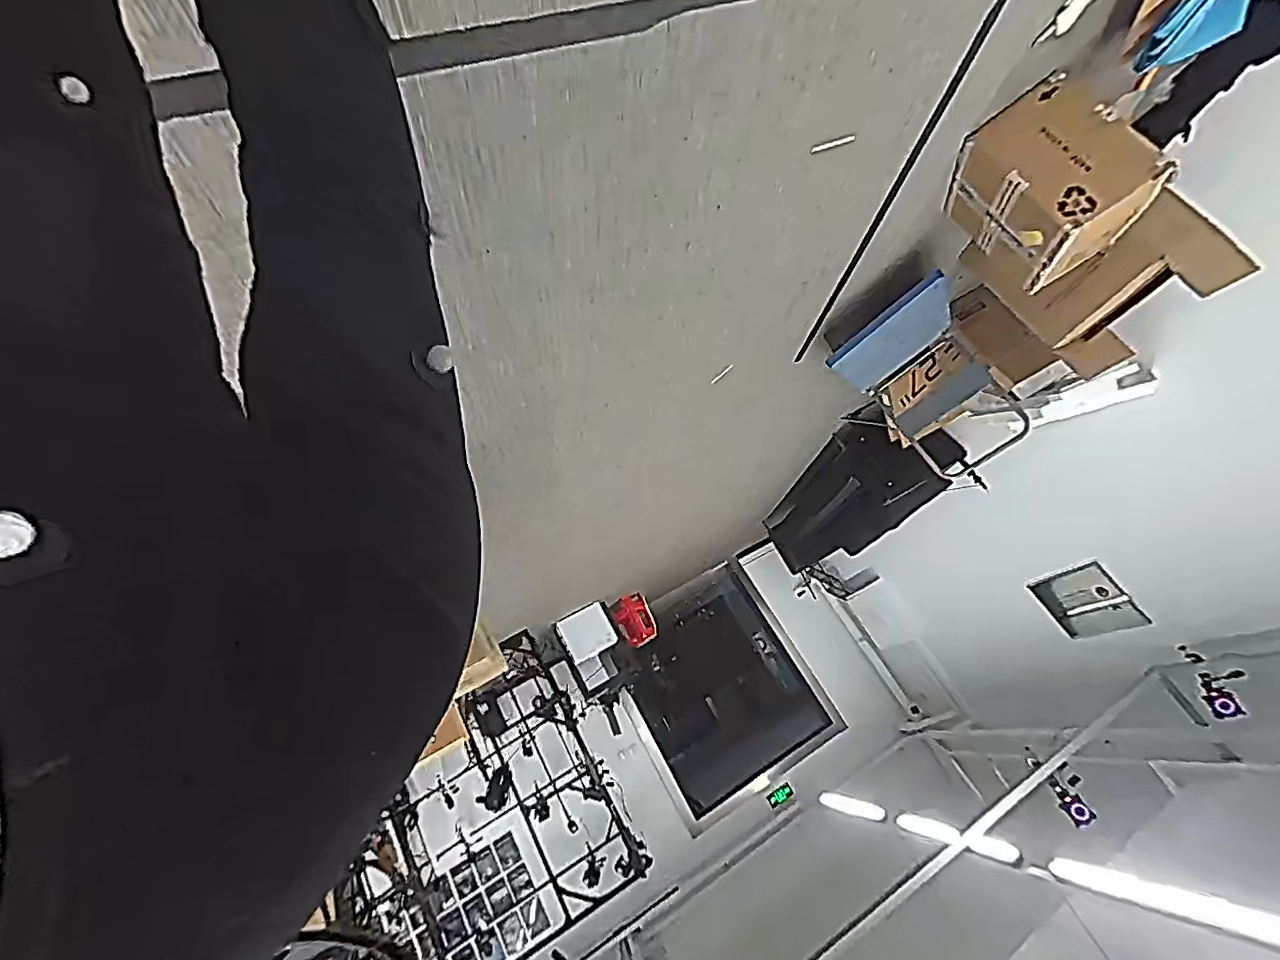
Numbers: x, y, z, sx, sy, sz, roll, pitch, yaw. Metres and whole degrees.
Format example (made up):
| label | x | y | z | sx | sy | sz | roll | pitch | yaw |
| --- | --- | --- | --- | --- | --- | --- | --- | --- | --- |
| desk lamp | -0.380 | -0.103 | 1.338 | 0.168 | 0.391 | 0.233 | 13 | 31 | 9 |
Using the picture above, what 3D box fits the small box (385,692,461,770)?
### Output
| label | x | y | z | sx | sy | sz | roll | pitch | yaw |
| --- | --- | --- | --- | --- | --- | --- | --- | --- | --- |
| small box | -0.714 | 0.823 | 1.772 | 0.179 | 0.176 | 0.168 | -26 | 160 | -20 |
